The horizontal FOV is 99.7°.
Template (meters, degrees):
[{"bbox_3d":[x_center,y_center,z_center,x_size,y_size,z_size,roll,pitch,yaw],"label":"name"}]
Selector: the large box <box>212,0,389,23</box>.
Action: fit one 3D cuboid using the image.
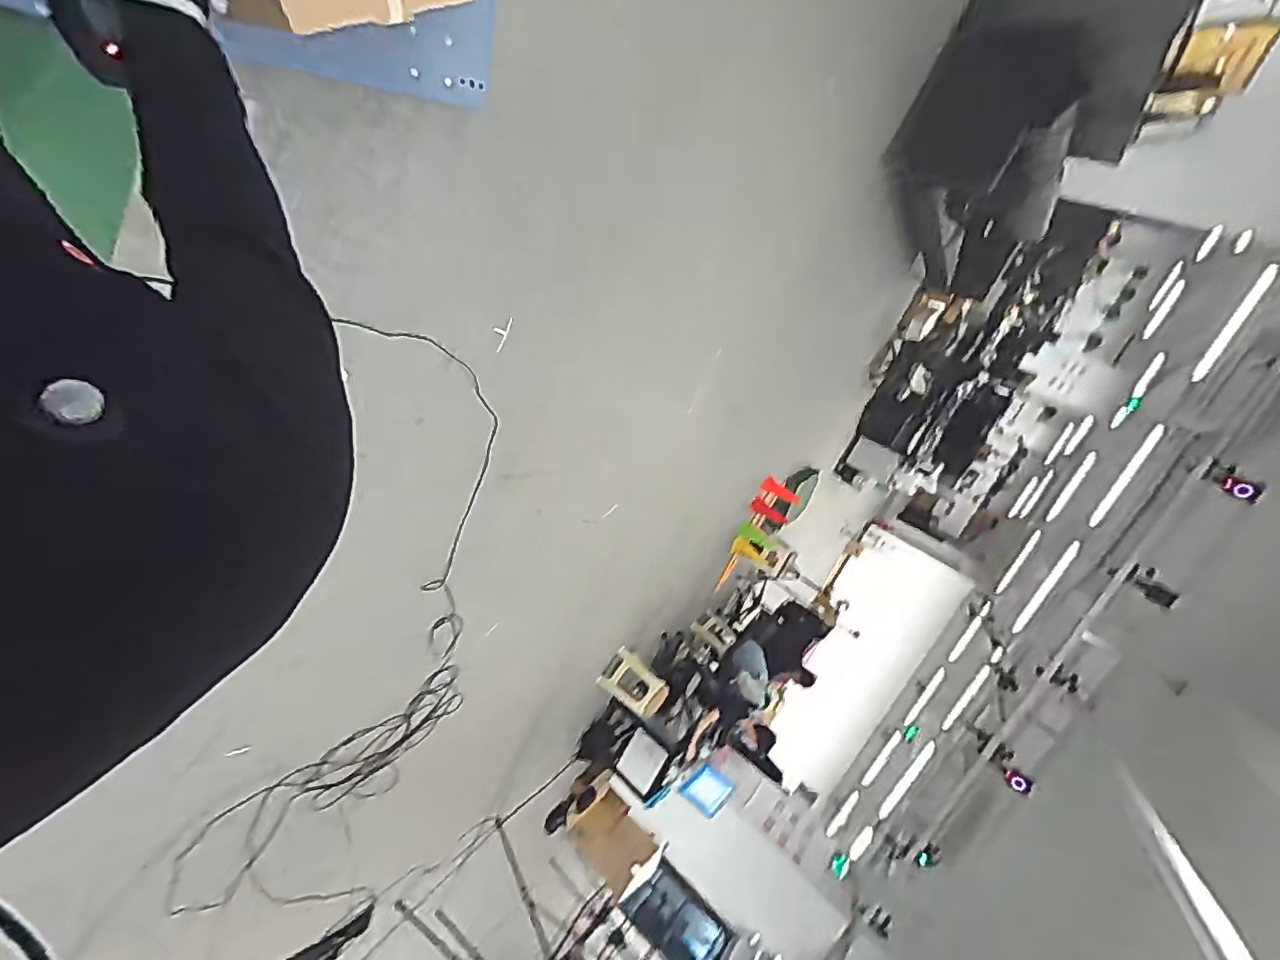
[{"bbox_3d":[-0.496,-0.909,0.725,0.320,0.320,0.408,-42,148,-27],"label":"large box"}]
